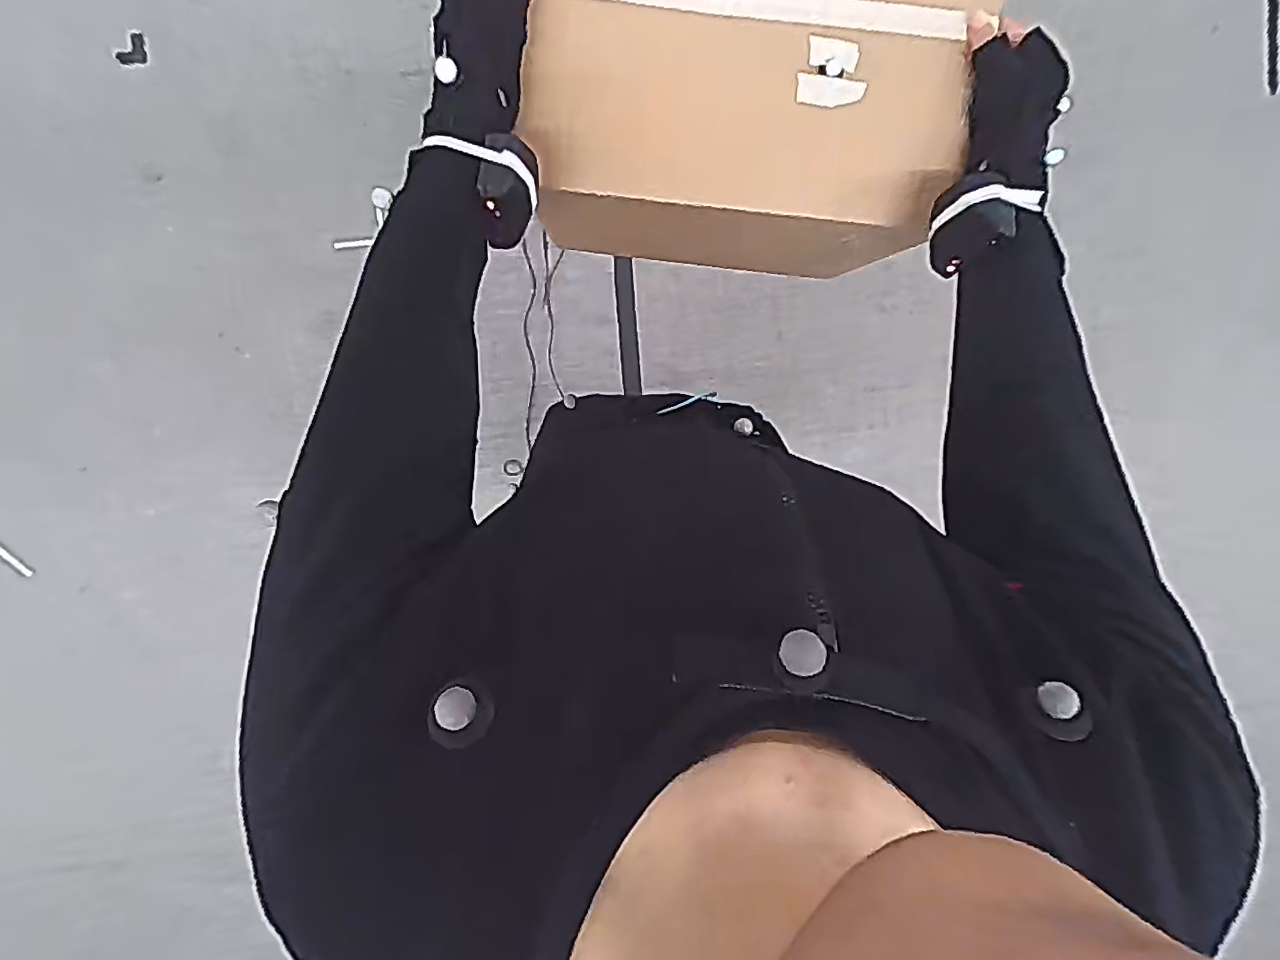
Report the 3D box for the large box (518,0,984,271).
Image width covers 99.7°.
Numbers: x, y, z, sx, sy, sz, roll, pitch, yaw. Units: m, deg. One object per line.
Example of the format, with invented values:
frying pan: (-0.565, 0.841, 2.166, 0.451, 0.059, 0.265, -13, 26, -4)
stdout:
large box: (0.091, -0.433, 0.609, 0.408, 0.320, 0.320, 4, 104, -3)
